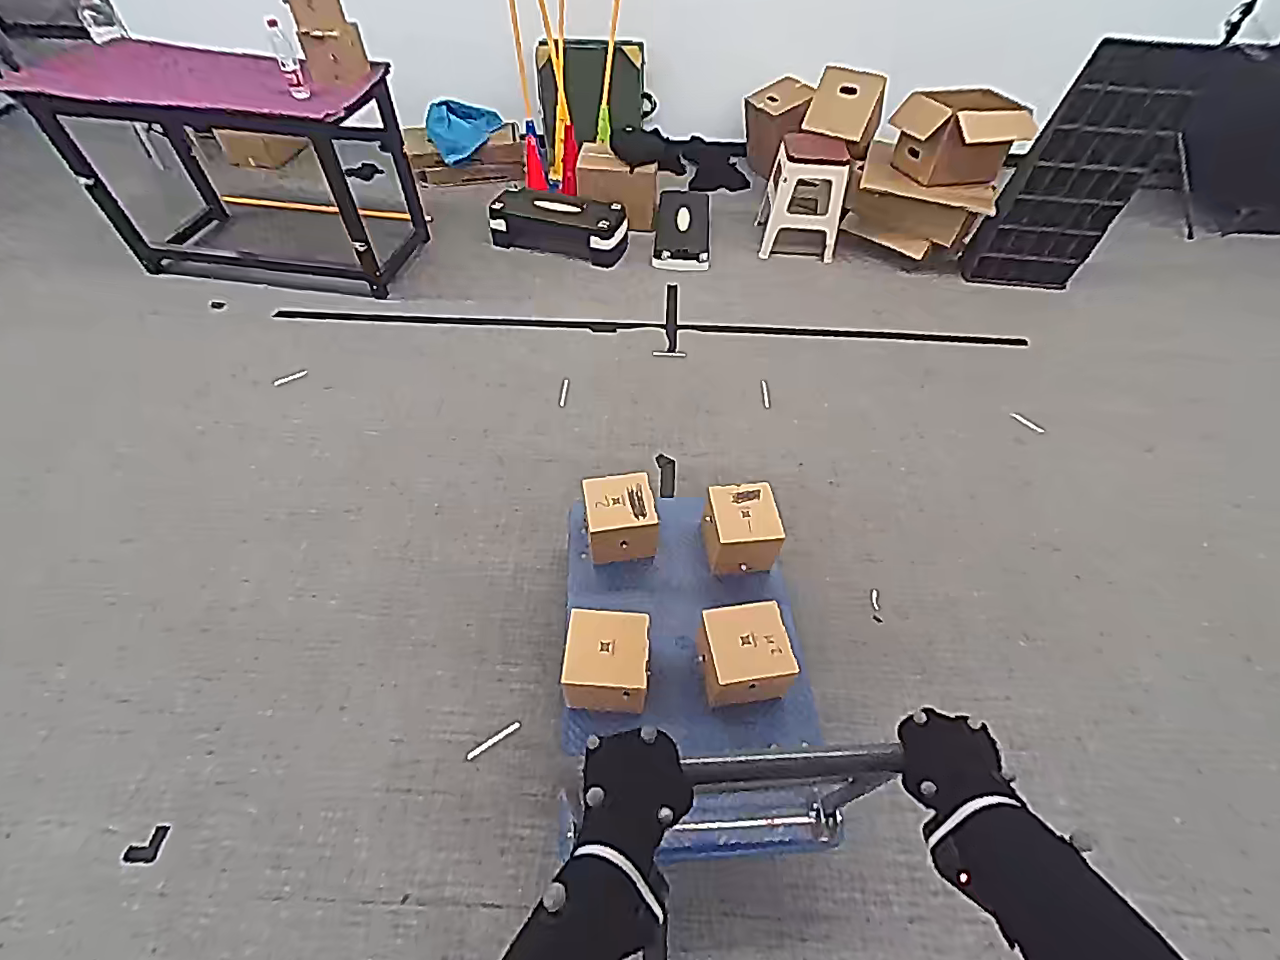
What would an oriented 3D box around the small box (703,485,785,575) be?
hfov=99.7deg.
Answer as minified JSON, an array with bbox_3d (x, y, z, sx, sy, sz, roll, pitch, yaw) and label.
[{"bbox_3d":[0.269,0.135,1.444,0.168,0.176,0.179,-4,53,-5],"label":"small box"}]

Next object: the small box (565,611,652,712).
[{"bbox_3d":[-0.067,0.410,1.214,0.179,0.176,0.168,4,51,-1],"label":"small box"}]

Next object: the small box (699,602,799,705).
[{"bbox_3d":[0.236,0.400,1.233,0.179,0.176,0.168,-6,52,-7],"label":"small box"}]
